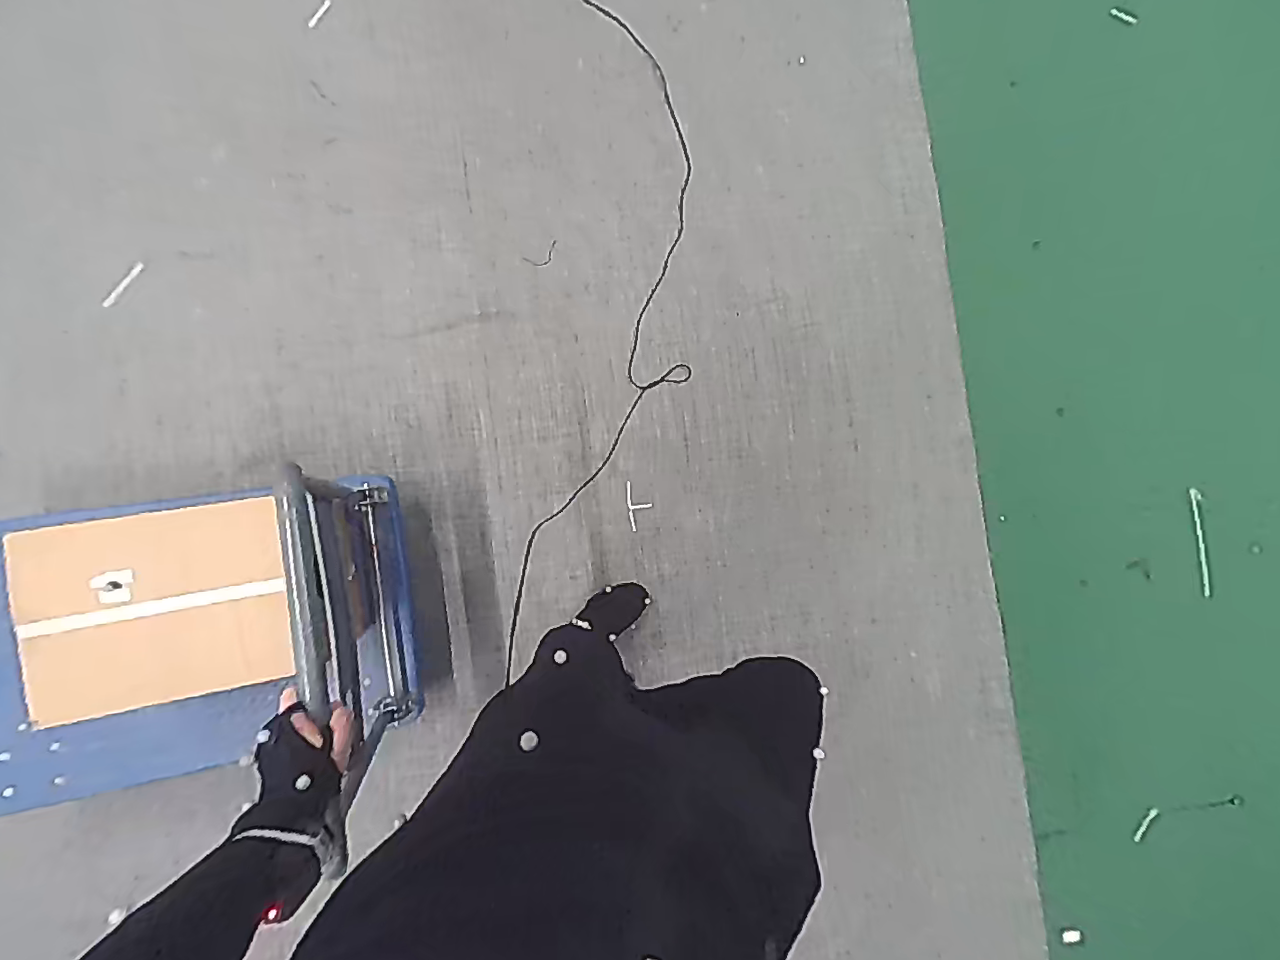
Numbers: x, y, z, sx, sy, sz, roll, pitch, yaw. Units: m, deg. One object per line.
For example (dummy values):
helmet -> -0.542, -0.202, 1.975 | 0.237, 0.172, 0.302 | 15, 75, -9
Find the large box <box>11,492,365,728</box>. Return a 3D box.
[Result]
large box -> -0.799, 0.211, 1.031 | 0.408, 0.320, 0.320 | -9, 88, -14
